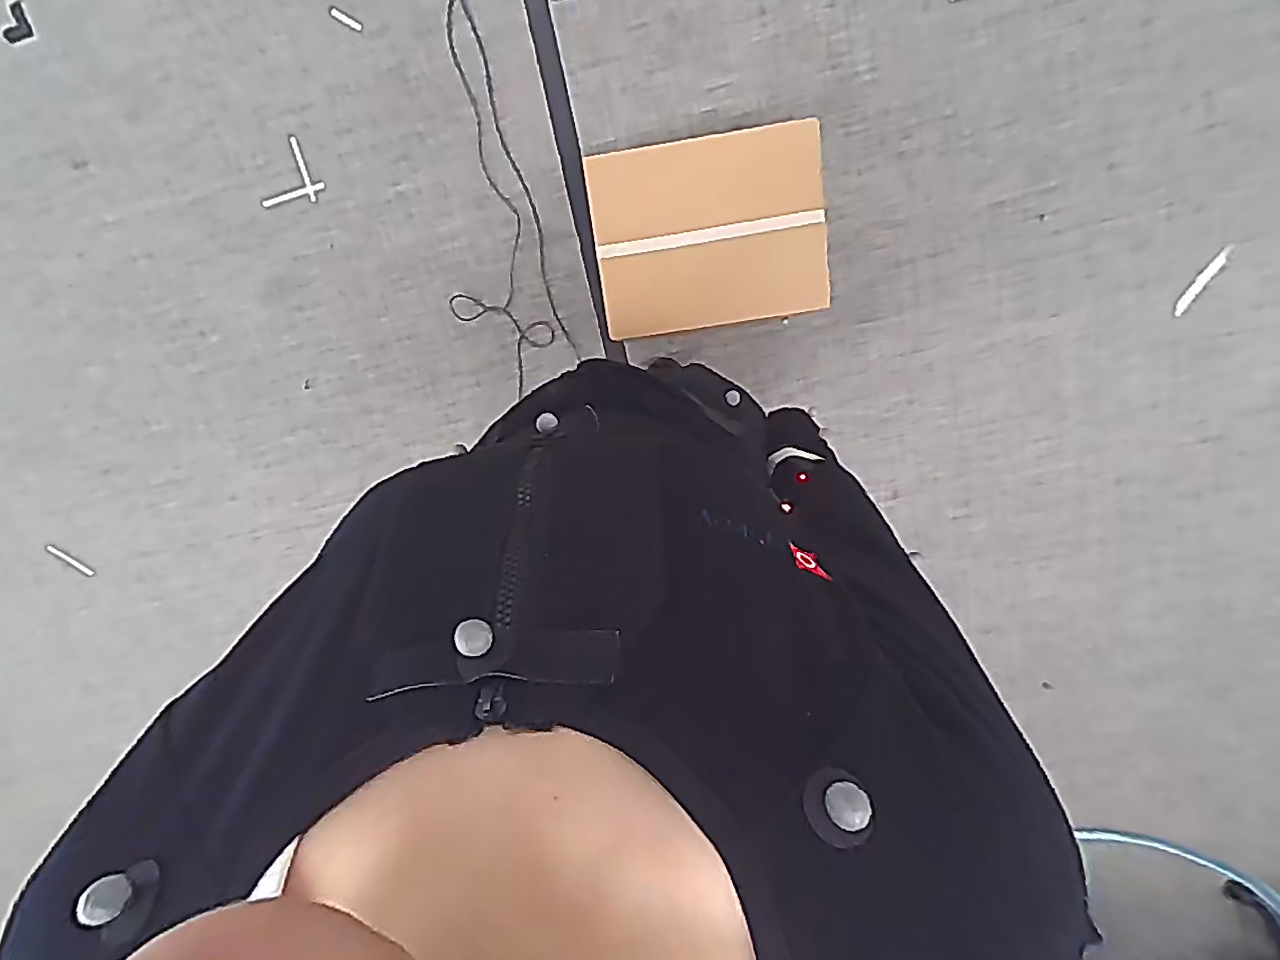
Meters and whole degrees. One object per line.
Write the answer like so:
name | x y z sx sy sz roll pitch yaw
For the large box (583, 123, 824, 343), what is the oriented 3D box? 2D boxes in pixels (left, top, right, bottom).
large box | 0.124 -0.467 1.107 0.408 0.320 0.320 -7 103 4
